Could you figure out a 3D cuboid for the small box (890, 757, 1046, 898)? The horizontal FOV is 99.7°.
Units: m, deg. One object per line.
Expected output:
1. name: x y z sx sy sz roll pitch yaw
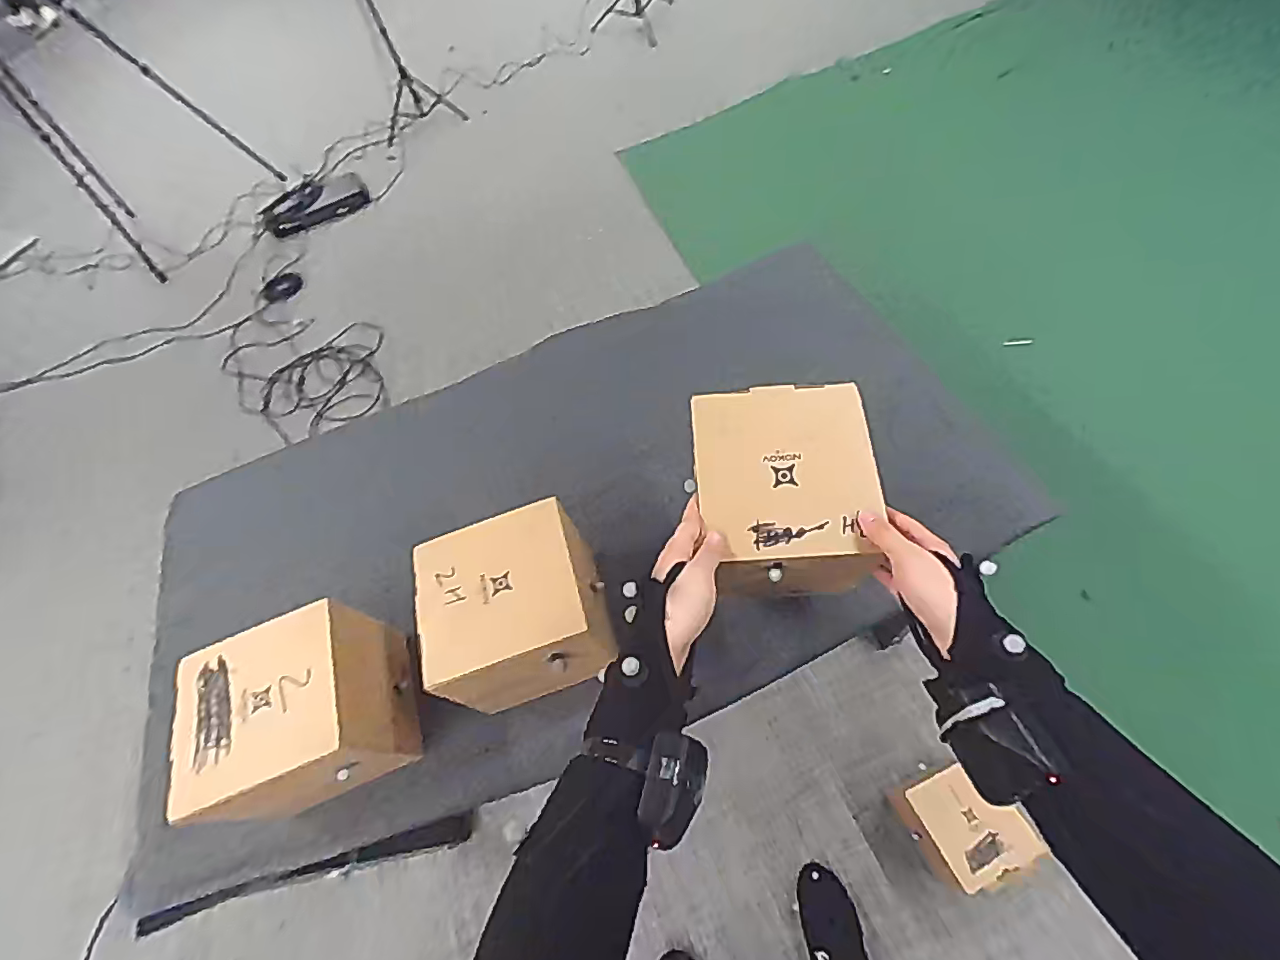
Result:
1. small box: 0.623 0.665 1.053 0.168 0.176 0.179 -25 58 -4
